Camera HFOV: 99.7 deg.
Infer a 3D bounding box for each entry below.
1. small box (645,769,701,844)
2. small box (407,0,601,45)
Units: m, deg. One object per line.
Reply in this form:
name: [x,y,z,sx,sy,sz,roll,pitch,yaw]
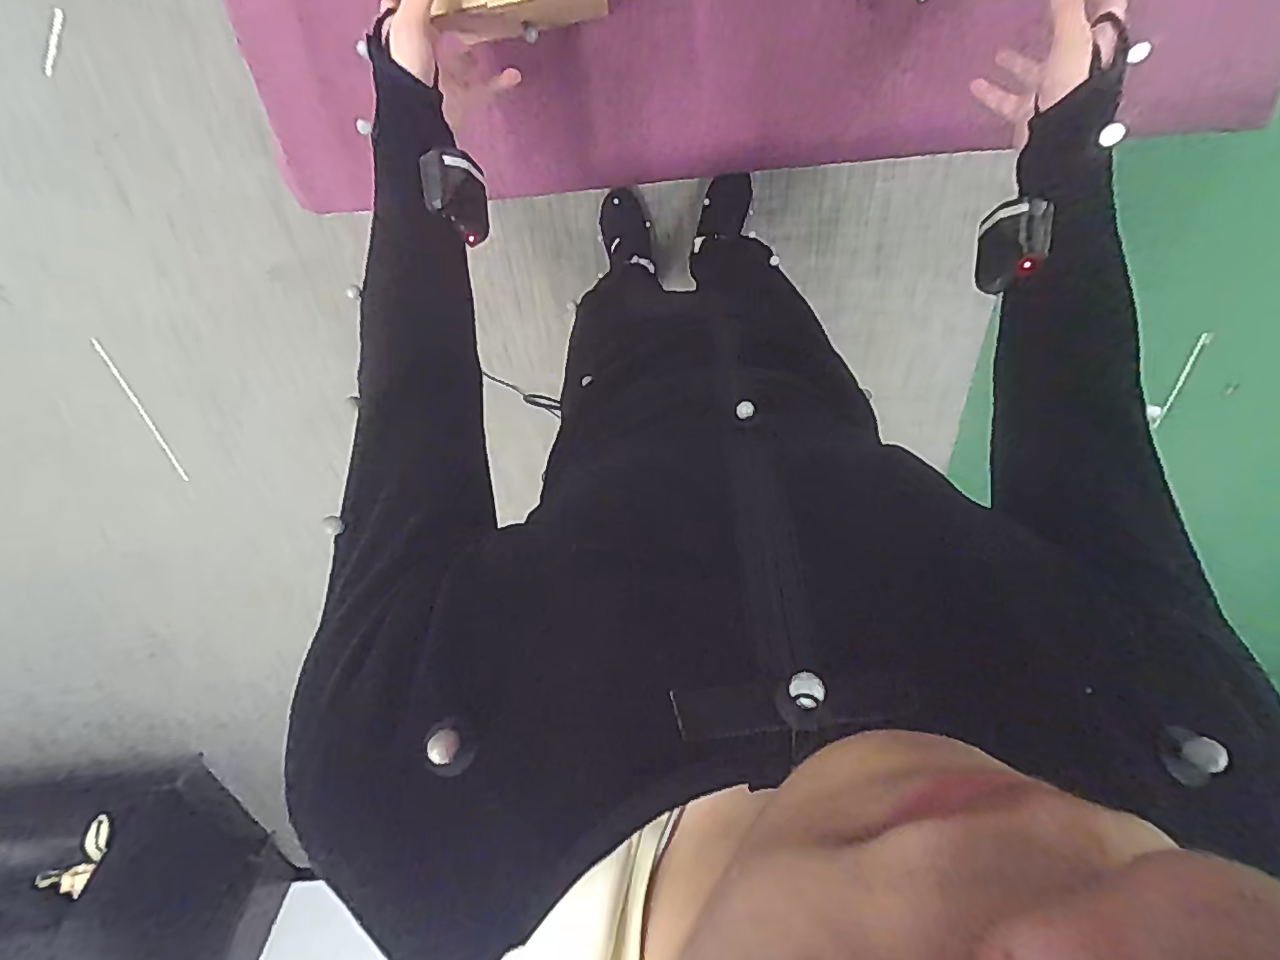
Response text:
small box: [0.105,1.100,1.826,0.168,0.176,0.179,3,124,-3]
small box: [-0.130,-0.523,0.484,0.168,0.176,0.179,-8,122,3]
